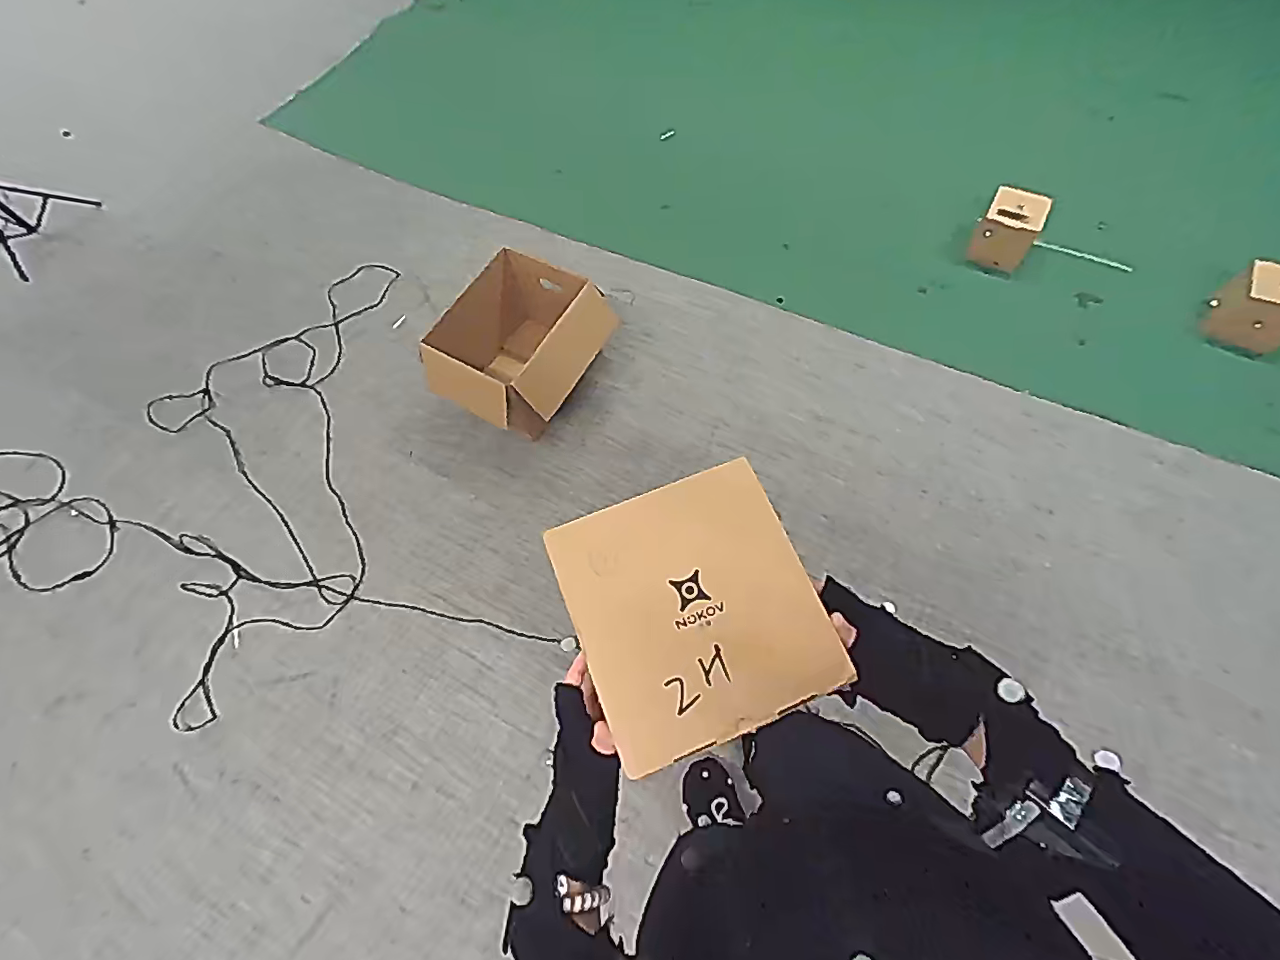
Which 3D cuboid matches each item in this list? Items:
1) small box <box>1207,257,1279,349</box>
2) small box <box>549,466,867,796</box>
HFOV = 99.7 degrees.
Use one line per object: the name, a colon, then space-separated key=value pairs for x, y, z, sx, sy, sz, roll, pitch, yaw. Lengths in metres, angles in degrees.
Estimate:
small box: x=1.858 y=-0.517 z=1.600 sx=0.179 sy=0.176 sz=0.168 roll=26 pitch=69 yaw=16
small box: x=0.038 y=0.118 z=0.435 sx=0.168 sy=0.176 sz=0.179 roll=-20 pitch=71 yaw=-7
